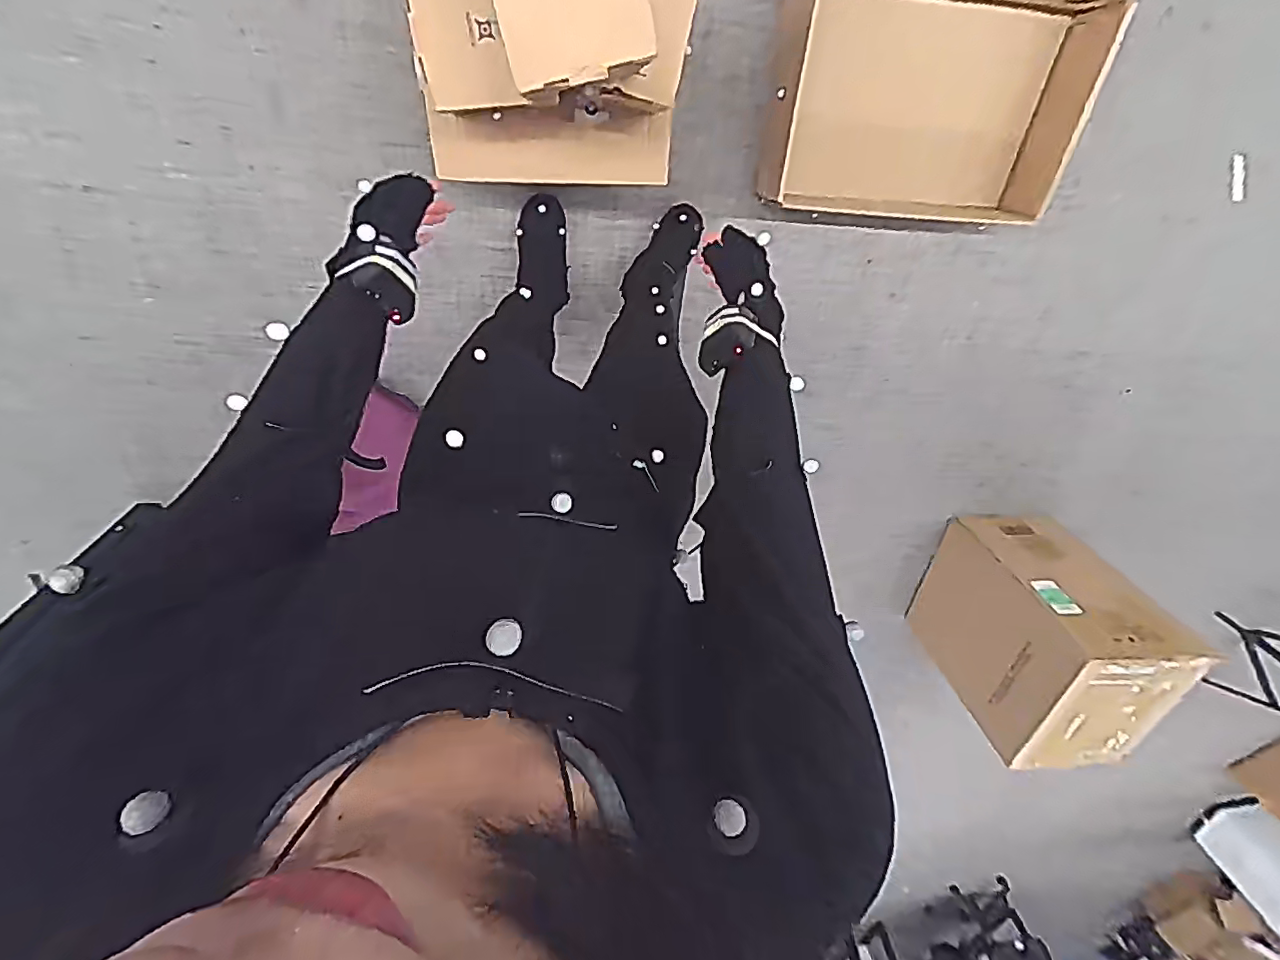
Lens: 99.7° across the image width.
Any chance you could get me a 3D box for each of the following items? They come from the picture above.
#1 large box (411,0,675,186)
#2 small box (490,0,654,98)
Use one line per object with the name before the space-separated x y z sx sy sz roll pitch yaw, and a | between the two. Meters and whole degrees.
large box | -0.164 -0.732 0.993 0.408 0.320 0.320 -3 124 -7
small box | -0.086 -0.564 0.625 0.168 0.176 0.179 -13 124 1
